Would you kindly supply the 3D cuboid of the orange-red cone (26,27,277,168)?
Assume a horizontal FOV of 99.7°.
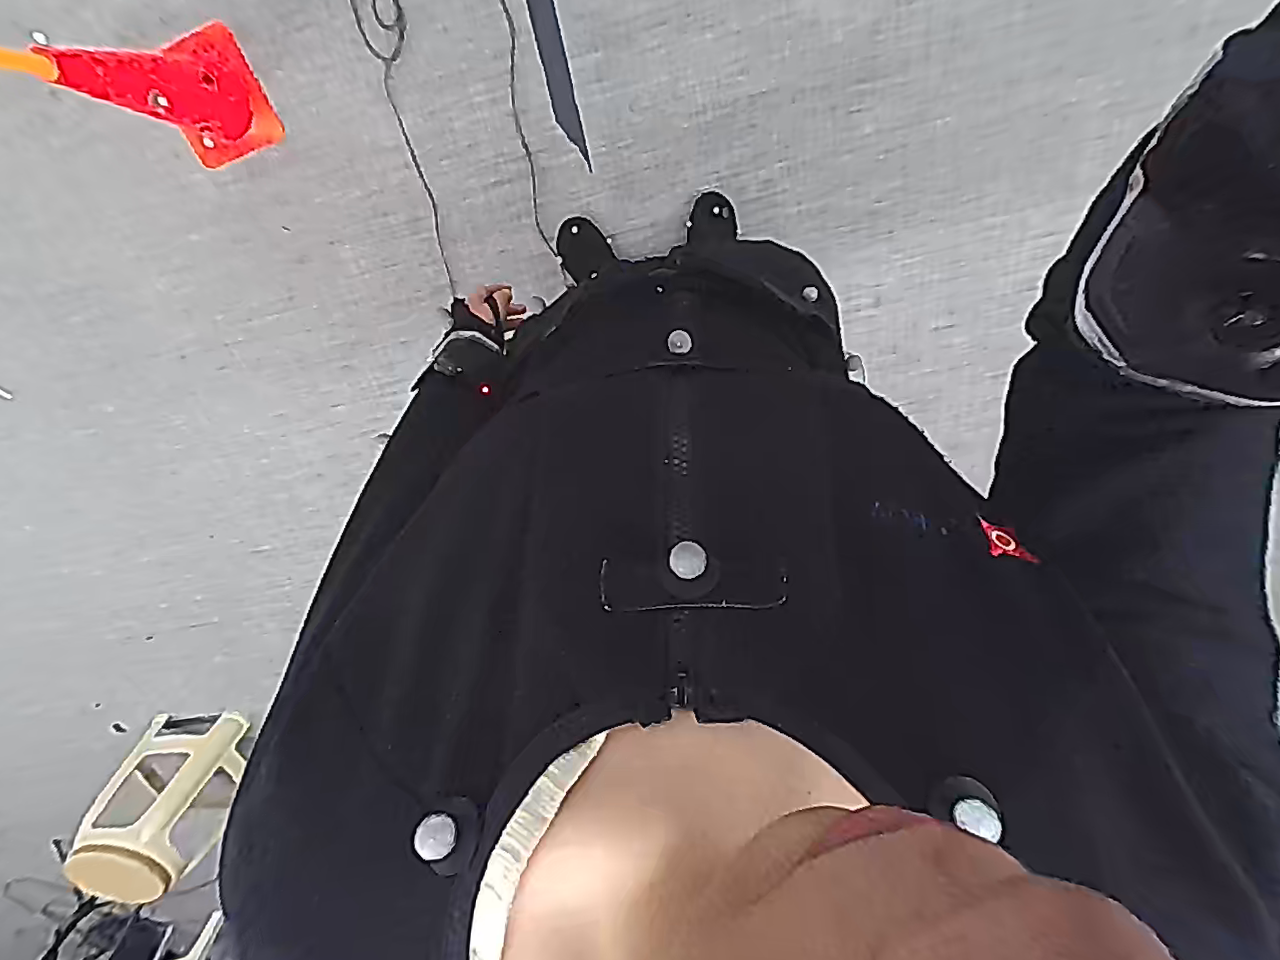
[{"bbox_3d":[-0.843,-0.664,0.911,0.199,0.360,0.198,-16,117,8],"label":"orange-red cone"}]
